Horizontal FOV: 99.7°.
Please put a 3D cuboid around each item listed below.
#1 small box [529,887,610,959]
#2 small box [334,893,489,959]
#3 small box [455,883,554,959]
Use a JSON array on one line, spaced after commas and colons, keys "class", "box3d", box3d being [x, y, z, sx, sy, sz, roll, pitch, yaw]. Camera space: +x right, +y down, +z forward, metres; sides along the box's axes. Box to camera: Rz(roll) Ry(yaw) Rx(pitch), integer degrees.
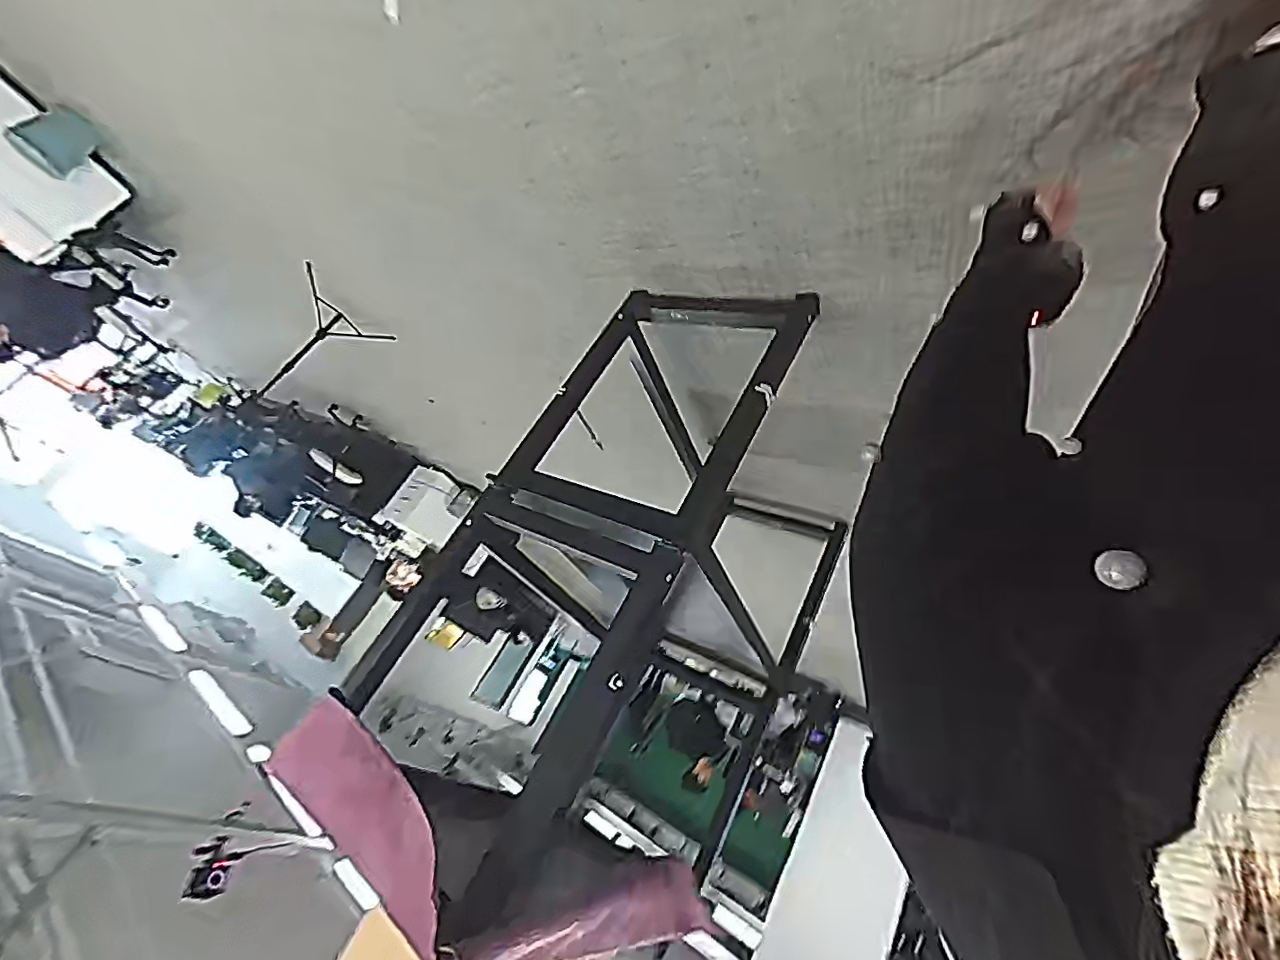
[{"class": "small box", "box3d": [-0.193, 1.111, 1.281, 0.179, 0.176, 0.168, 9, 149, 43]}, {"class": "small box", "box3d": [-0.382, 0.810, 0.882, 0.179, 0.176, 0.168, 12, 152, 40]}, {"class": "small box", "box3d": [-0.297, 0.954, 1.087, 0.179, 0.176, 0.168, 14, 152, 38]}]
